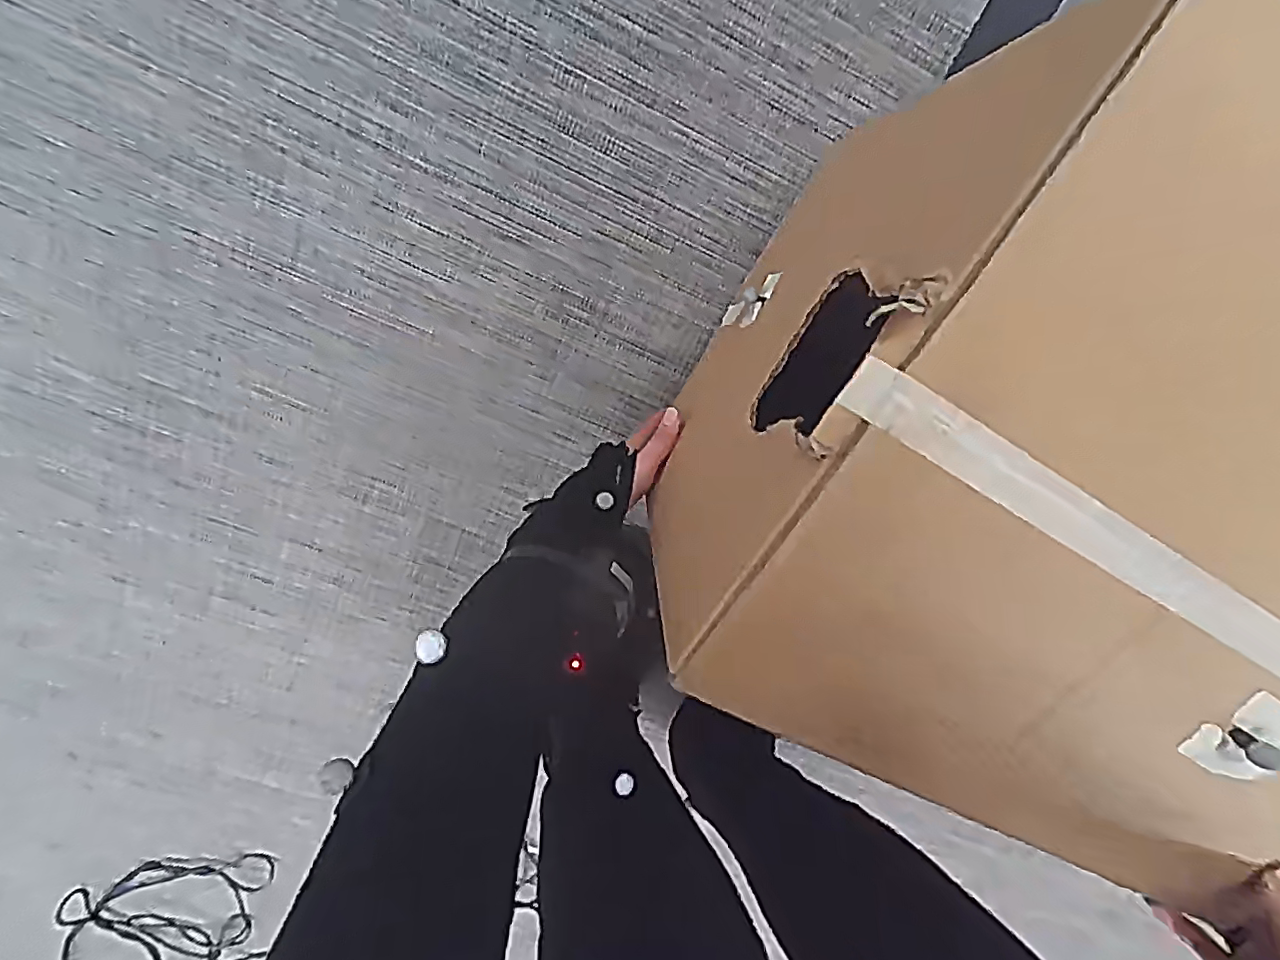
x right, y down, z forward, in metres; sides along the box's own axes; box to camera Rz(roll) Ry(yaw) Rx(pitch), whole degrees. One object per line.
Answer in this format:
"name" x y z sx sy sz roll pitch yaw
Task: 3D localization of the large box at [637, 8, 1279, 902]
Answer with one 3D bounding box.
"large box" 0.249 0.005 0.394 0.408 0.320 0.320 27 107 -14
